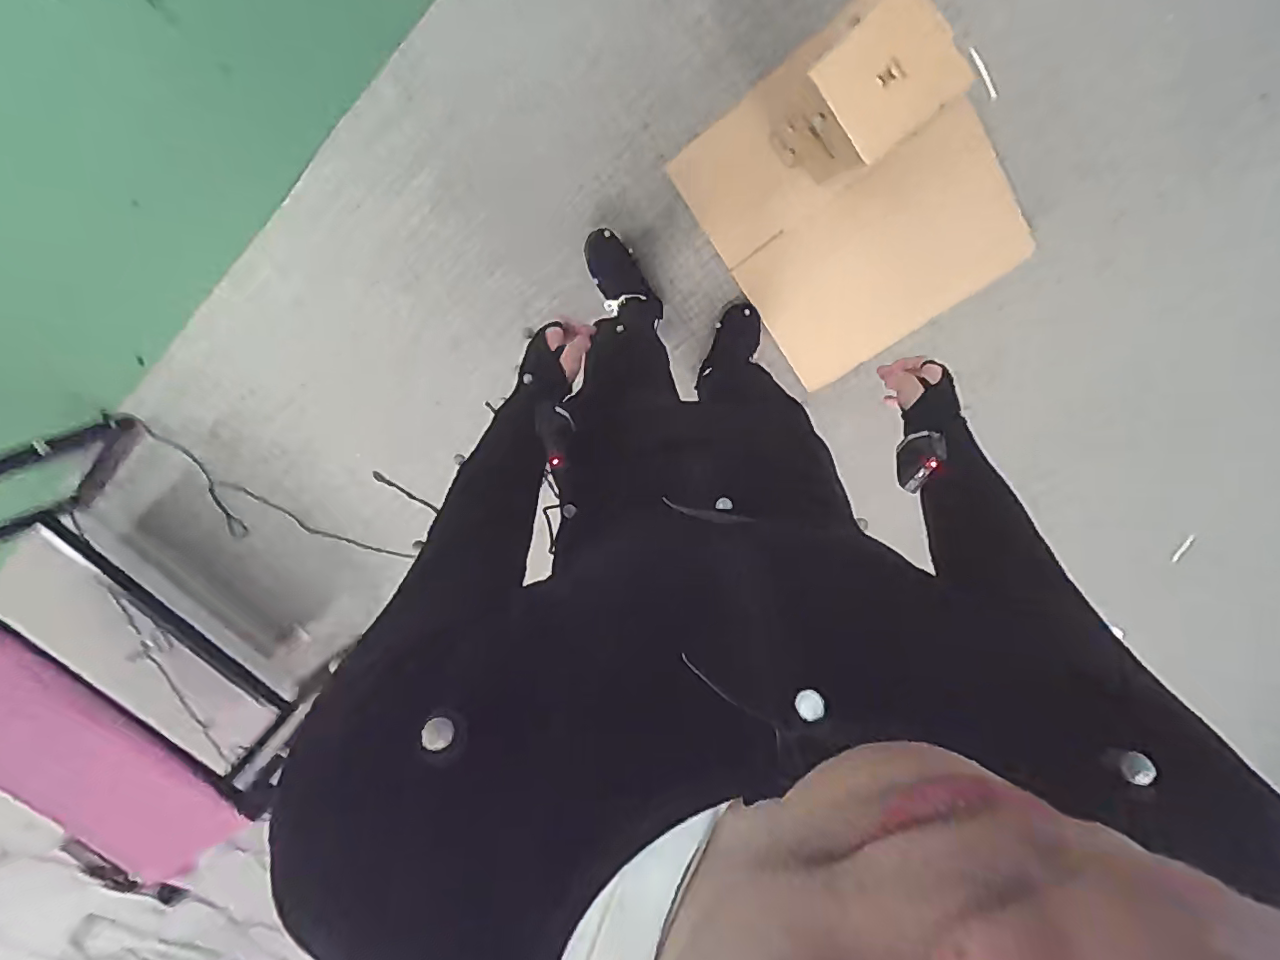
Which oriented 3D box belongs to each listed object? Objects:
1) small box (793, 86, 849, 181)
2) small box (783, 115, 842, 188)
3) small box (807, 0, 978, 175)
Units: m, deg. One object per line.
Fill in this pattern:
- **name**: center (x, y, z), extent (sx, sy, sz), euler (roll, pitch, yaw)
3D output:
- **small box**: center (0.404, -0.691, 1.010), extent (0.179, 0.176, 0.168), euler (-37, 104, 21)
- **small box**: center (0.426, -0.758, 1.157), extent (0.179, 0.176, 0.168), euler (-40, 103, 23)
- **small box**: center (0.386, -0.621, 0.864), extent (0.179, 0.176, 0.168), euler (-36, 104, 21)
